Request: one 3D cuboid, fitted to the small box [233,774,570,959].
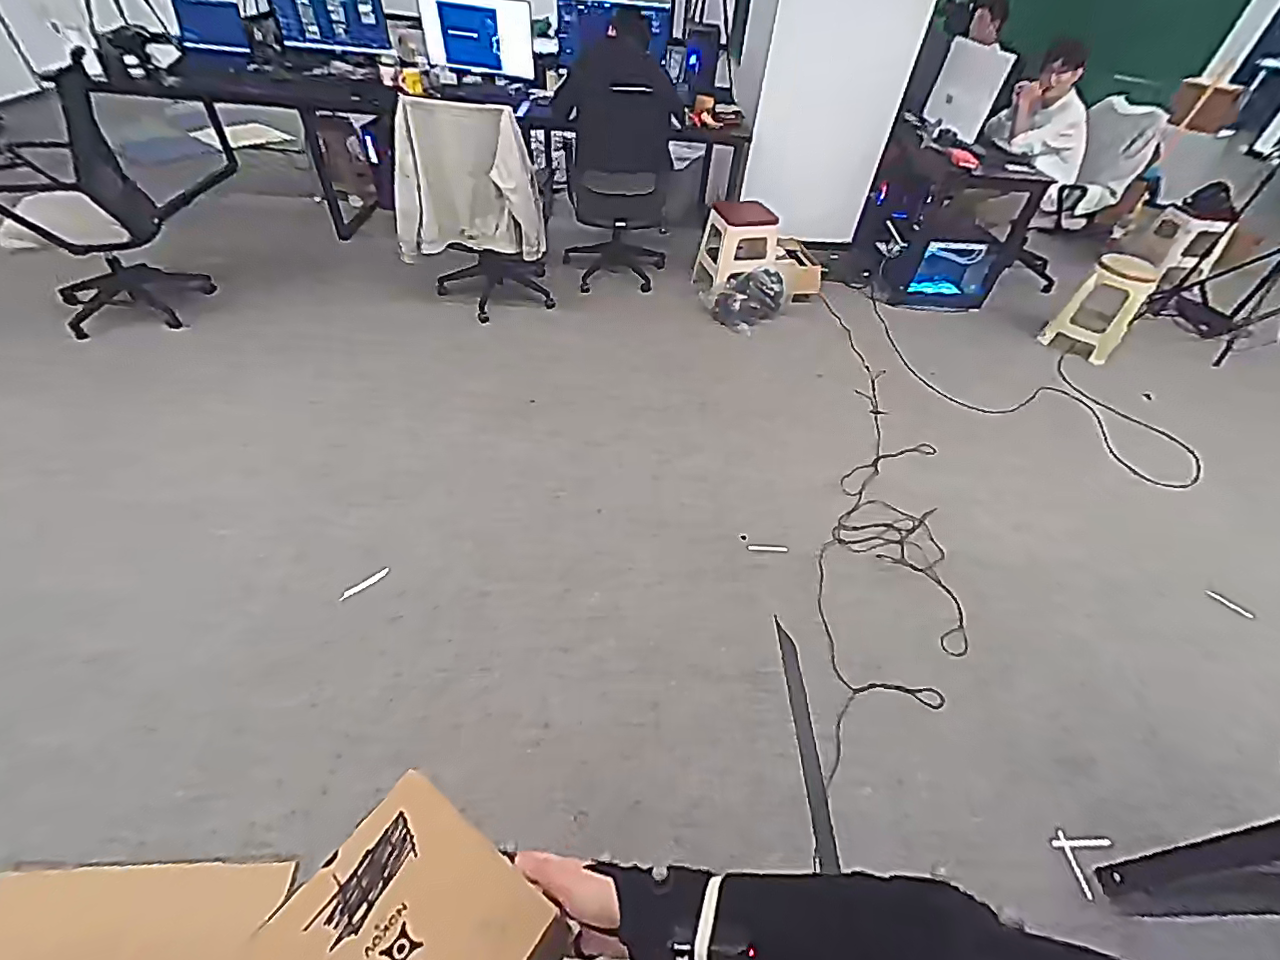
[{"bbox_3d":[-0.178,0.394,0.449,0.179,0.176,0.168,27,52,24],"label":"small box"}]
